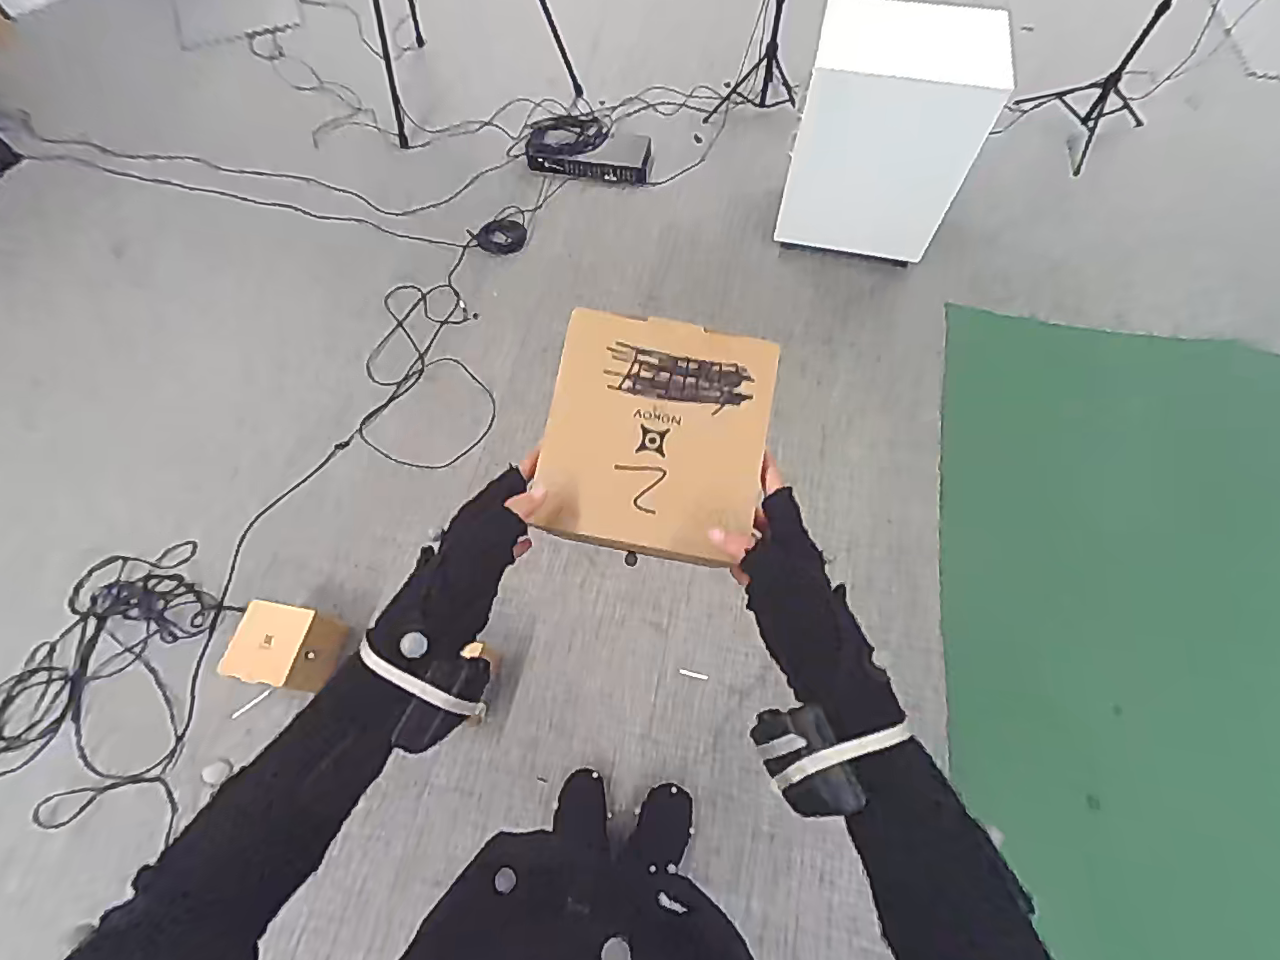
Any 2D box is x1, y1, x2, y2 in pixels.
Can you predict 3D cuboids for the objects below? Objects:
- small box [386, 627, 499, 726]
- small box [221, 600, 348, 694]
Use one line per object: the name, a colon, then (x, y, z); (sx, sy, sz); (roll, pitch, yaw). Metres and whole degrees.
small box: (-0.453, 0.469, 1.276); (0.168, 0.176, 0.179); (13, 64, 8)
small box: (-0.850, 0.411, 1.317); (0.168, 0.176, 0.179); (9, 65, 6)
